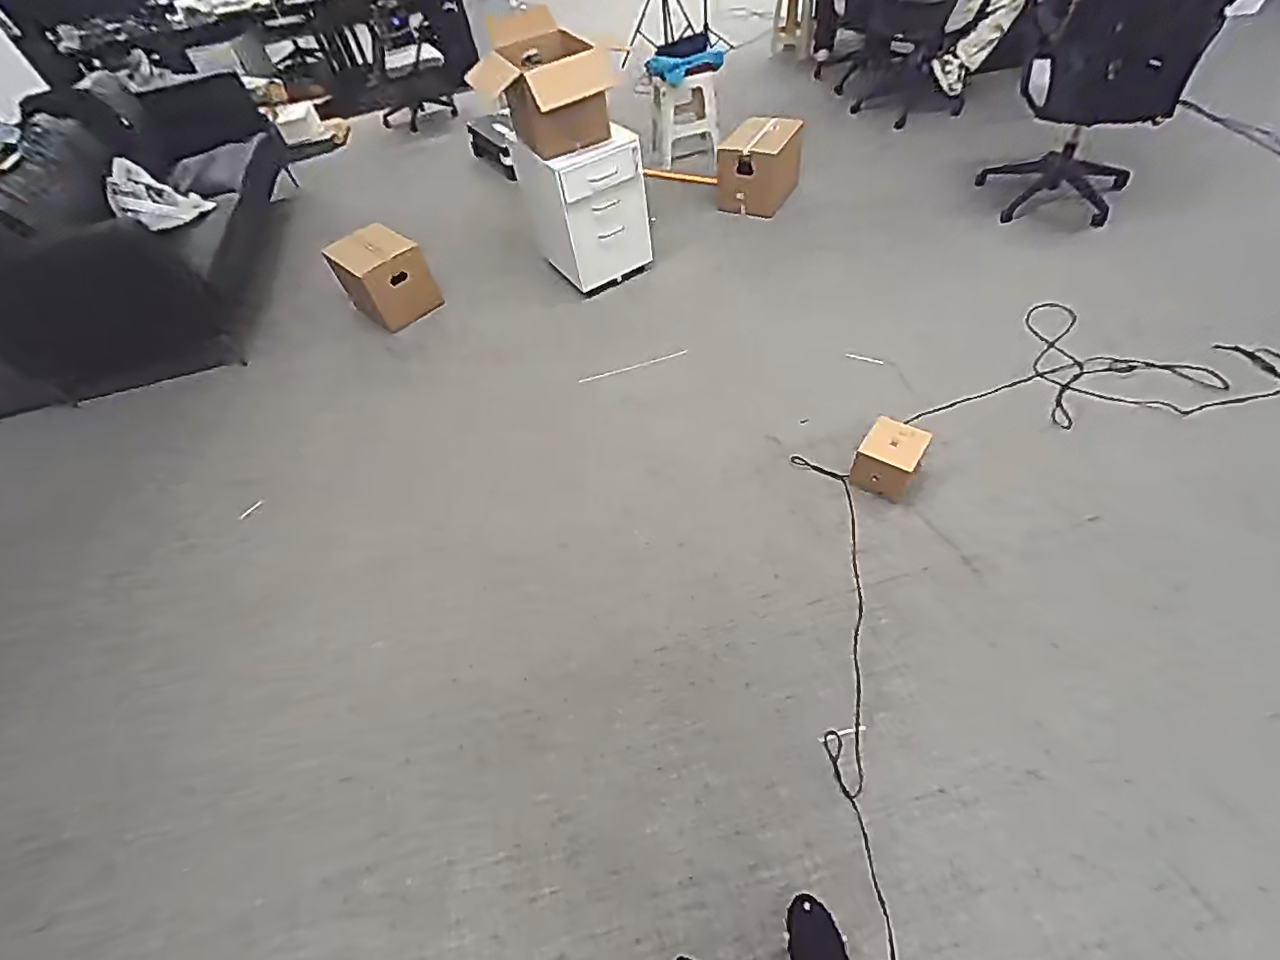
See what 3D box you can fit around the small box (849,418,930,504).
[{"bbox_3d":[0.777,-0.057,1.700,0.168,0.176,0.179,28,61,27],"label":"small box"}]
